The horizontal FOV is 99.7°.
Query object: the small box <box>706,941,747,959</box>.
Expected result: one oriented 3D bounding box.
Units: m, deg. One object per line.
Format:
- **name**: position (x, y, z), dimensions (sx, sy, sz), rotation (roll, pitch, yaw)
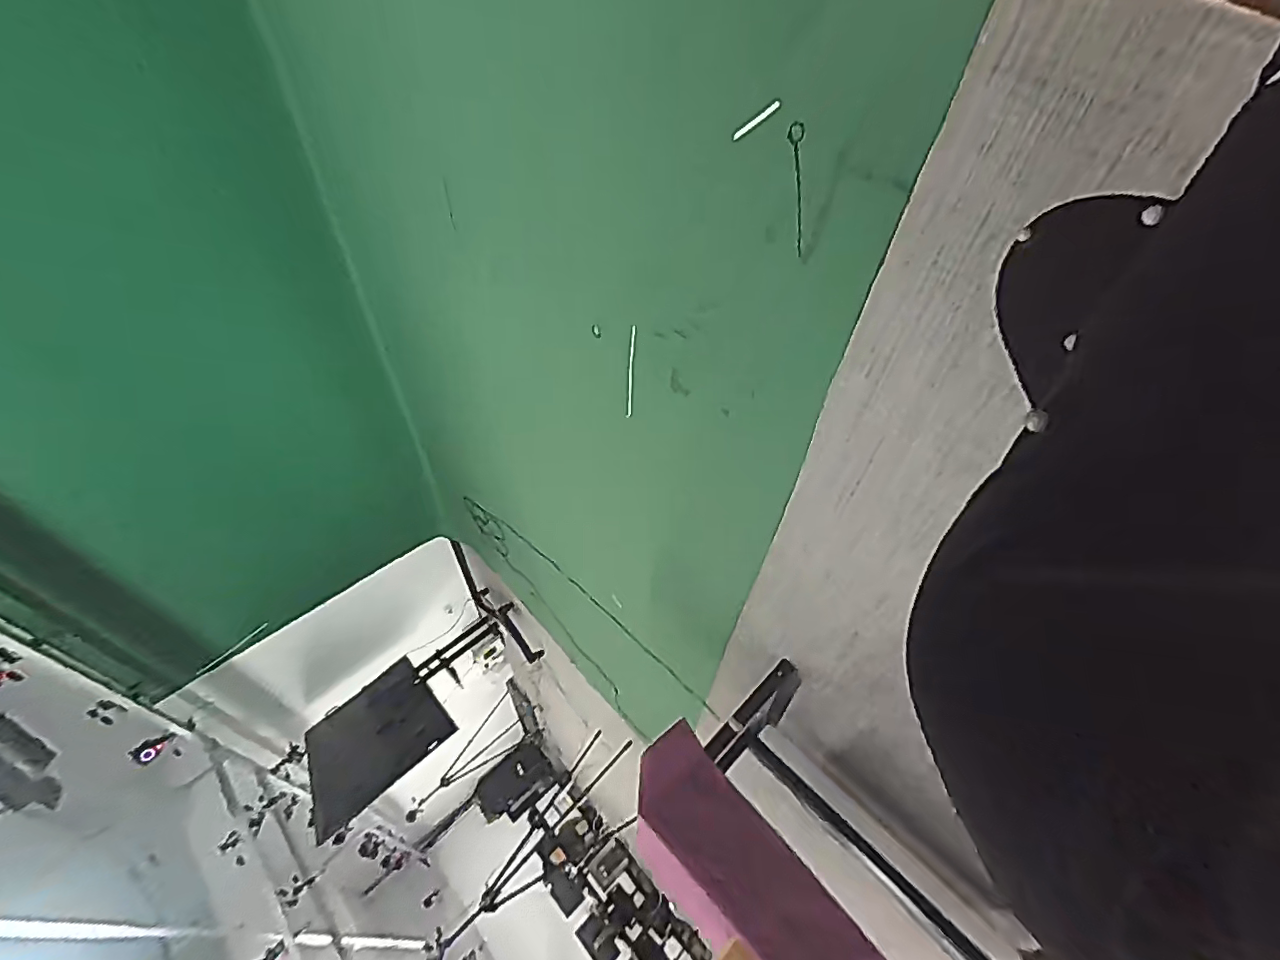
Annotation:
- **small box**: position (0.235, 1.369, 1.432), dimensions (0.168, 0.176, 0.179), rotation (40, 147, 27)
